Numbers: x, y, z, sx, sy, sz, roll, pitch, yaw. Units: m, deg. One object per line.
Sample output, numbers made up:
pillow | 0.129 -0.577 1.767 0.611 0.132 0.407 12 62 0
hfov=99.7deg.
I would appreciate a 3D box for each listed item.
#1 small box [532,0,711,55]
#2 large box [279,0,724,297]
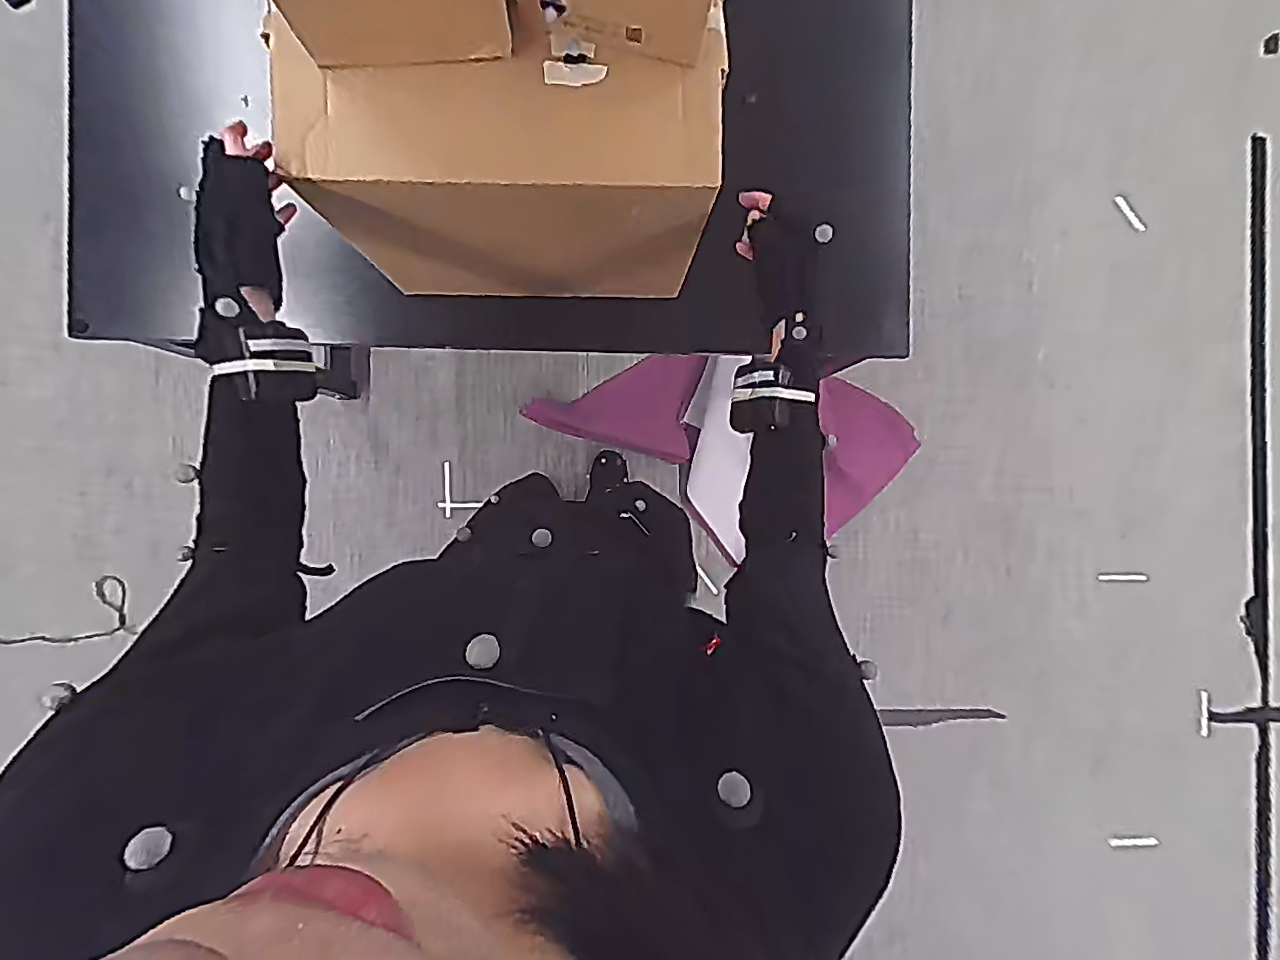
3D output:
small box | -0.007 -0.479 0.410 0.168 0.176 0.179 11 88 -4
large box | -0.137 -0.425 0.645 0.408 0.320 0.320 -2 90 -5
